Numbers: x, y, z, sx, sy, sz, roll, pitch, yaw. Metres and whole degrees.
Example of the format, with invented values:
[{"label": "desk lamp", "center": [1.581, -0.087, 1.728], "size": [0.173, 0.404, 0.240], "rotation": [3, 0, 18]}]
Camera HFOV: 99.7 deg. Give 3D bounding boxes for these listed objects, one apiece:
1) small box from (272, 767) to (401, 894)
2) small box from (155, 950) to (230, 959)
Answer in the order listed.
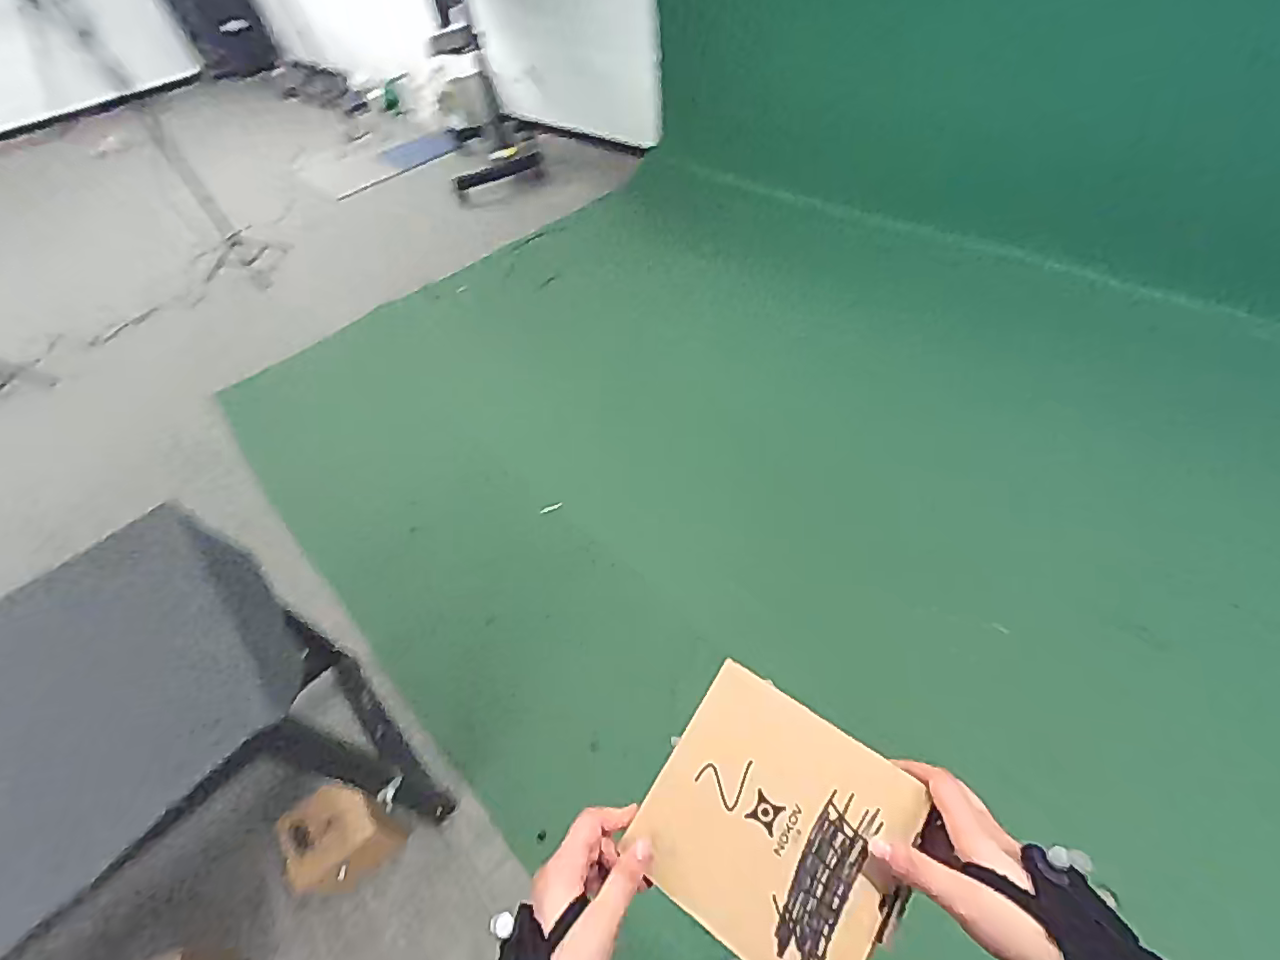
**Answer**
[{"label": "small box", "center": [-0.683, 0.800, 1.231], "size": [0.179, 0.176, 0.168], "rotation": [-34, 55, -21]}, {"label": "small box", "center": [-0.946, 1.056, 1.054], "size": [0.179, 0.176, 0.168], "rotation": [-23, 50, -10]}]
